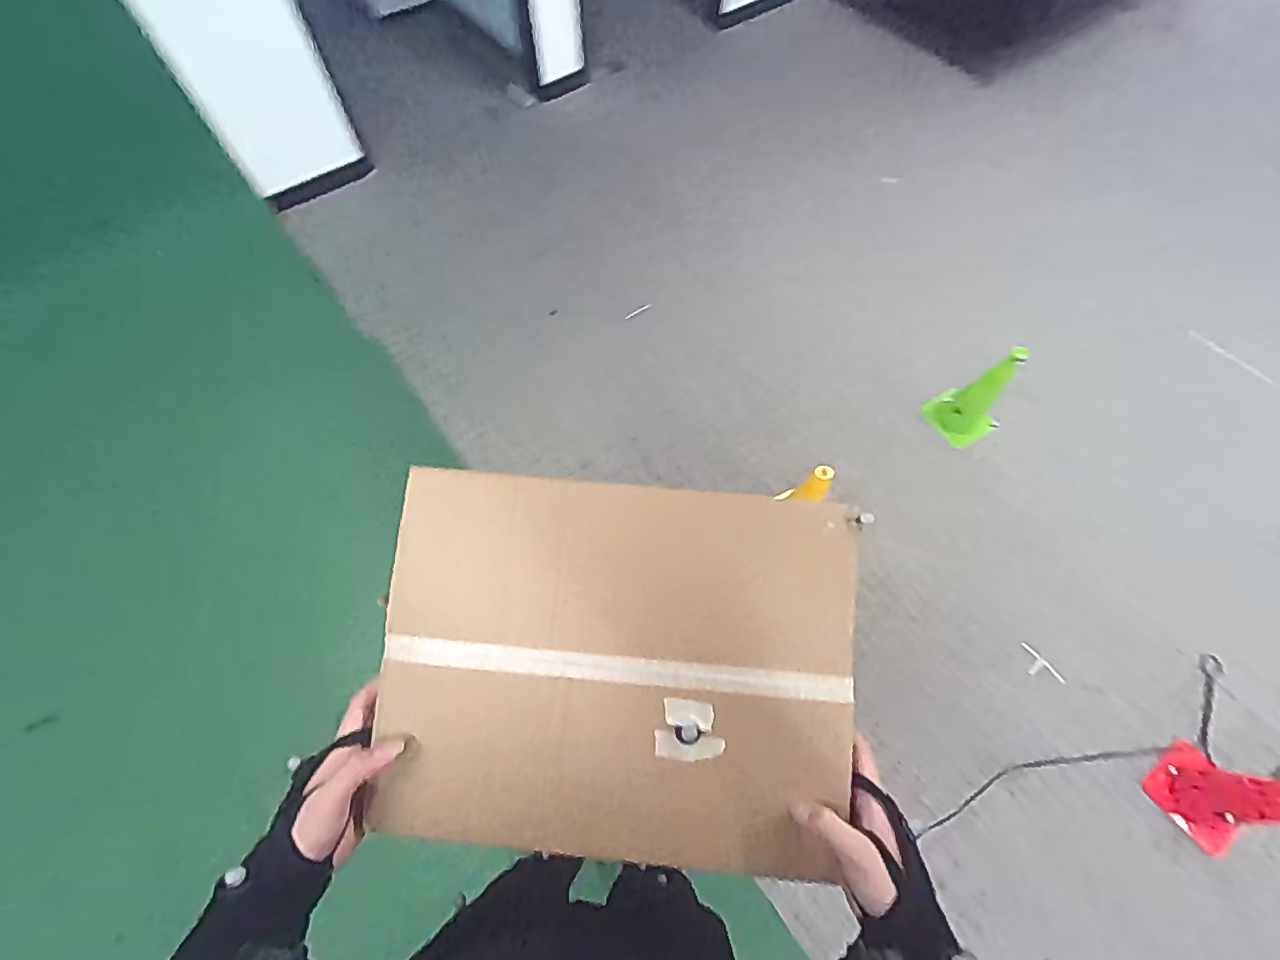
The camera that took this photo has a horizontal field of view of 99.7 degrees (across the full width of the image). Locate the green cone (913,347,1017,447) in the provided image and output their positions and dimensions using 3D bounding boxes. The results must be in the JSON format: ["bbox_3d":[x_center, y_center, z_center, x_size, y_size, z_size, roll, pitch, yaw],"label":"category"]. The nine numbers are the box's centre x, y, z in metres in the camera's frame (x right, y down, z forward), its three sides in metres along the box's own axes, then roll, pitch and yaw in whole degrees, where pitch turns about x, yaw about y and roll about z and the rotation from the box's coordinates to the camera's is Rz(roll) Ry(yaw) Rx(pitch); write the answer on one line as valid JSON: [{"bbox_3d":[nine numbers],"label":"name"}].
[{"bbox_3d":[1.089,-0.302,1.744,0.202,0.368,0.200,-29,66,-13],"label":"green cone"}]

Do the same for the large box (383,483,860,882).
[{"bbox_3d":[-0.011,0.188,0.620,0.408,0.320,0.320,5,84,2],"label":"large box"}]
